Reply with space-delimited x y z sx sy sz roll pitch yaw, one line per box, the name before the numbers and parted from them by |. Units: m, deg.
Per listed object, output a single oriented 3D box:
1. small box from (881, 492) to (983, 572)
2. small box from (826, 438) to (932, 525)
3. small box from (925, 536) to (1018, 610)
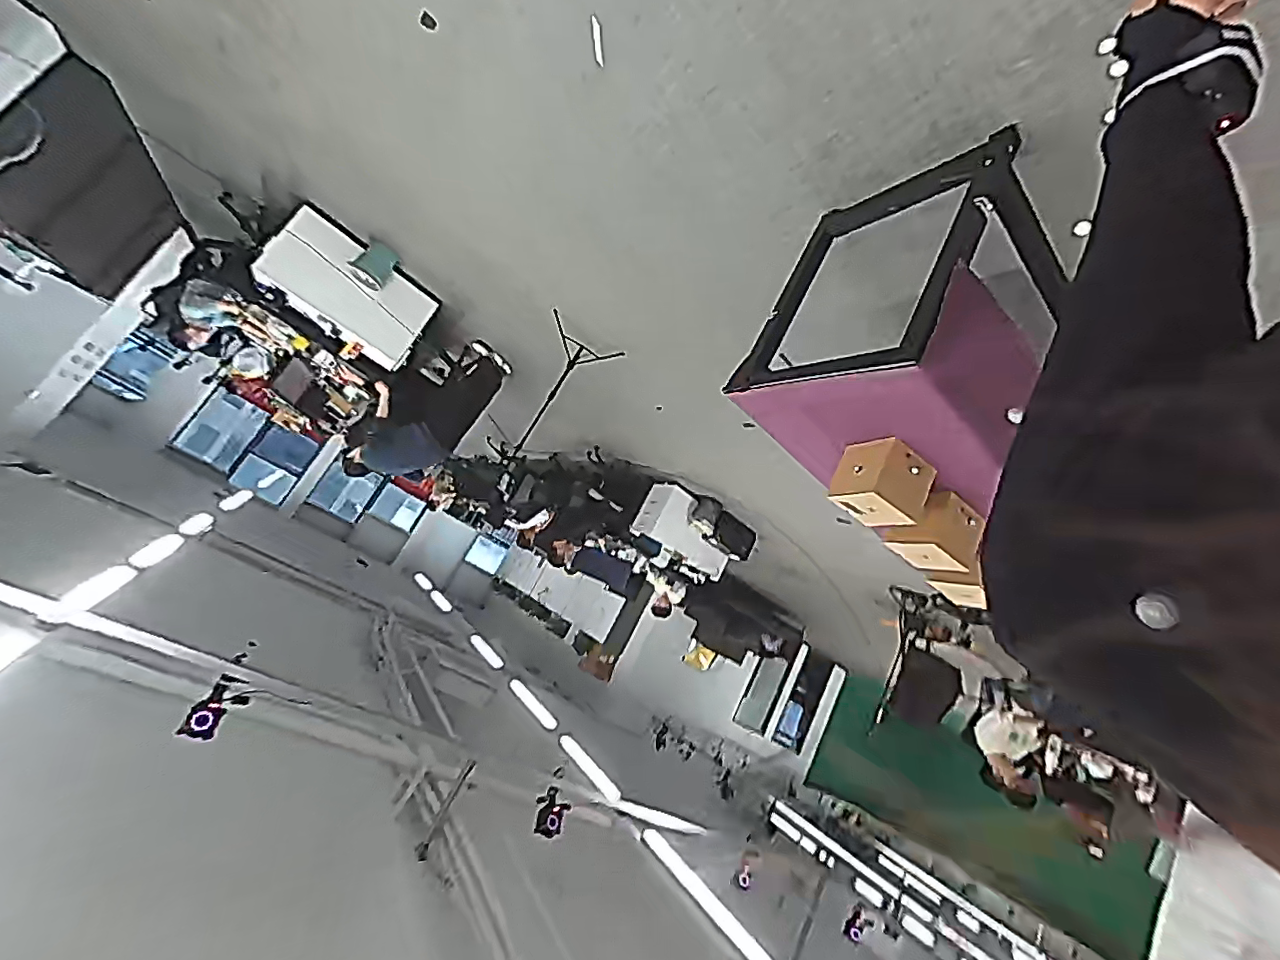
small box | 0.846 0.145 1.564 0.168 0.176 0.179 32 166 -19
small box | 0.645 0.007 1.457 0.168 0.176 0.179 32 165 -15
small box | 1.032 0.278 1.673 0.168 0.176 0.179 34 165 -19
